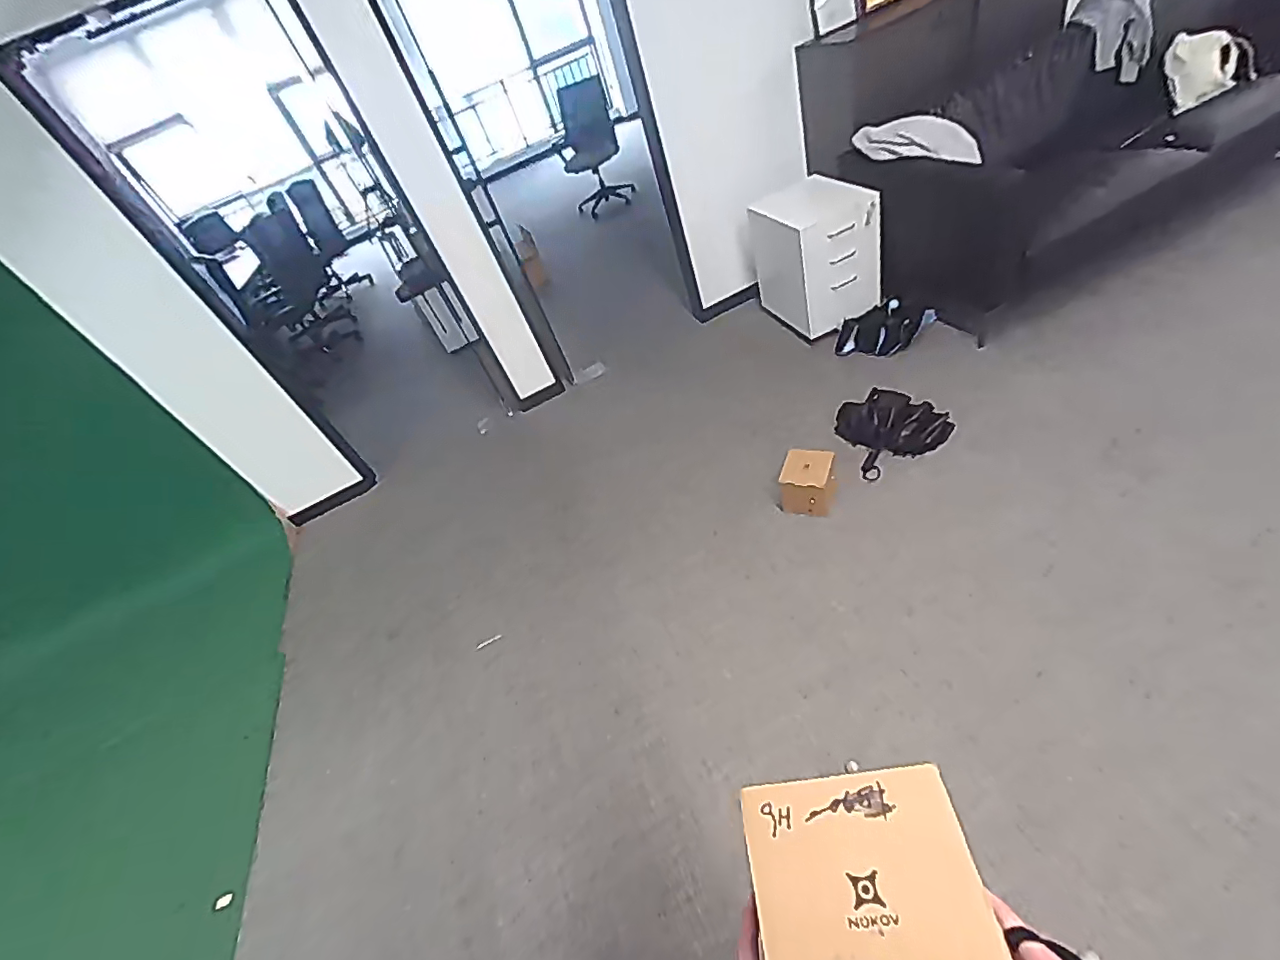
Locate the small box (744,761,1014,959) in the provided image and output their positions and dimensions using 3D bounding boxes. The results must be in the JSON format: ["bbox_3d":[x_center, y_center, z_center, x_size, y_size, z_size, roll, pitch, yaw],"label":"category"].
[{"bbox_3d":[0.192,0.360,0.456,0.168,0.176,0.179,-12,47,9],"label":"small box"}]
